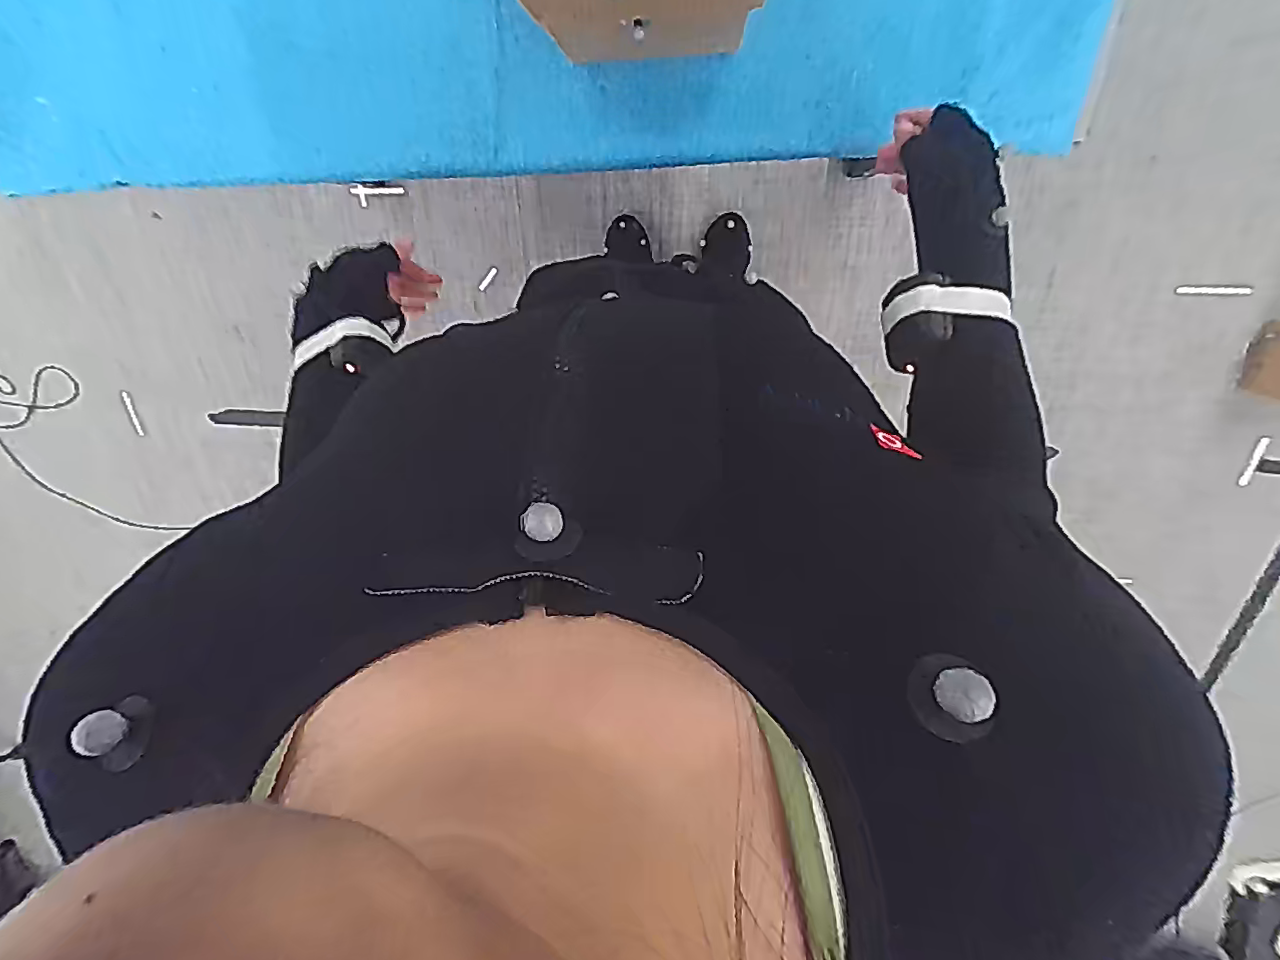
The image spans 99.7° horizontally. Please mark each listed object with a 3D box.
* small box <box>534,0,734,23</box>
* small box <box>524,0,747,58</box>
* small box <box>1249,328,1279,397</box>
[{"bbox_3d":[-0.004,-0.391,0.302,0.179,0.176,0.168,-2,116,7],"label":"small box"},{"bbox_3d":[0.005,-0.469,0.445,0.179,0.176,0.168,2,117,6],"label":"small box"},{"bbox_3d":[1.522,-0.256,1.179,0.179,0.176,0.168,1,117,5],"label":"small box"}]
